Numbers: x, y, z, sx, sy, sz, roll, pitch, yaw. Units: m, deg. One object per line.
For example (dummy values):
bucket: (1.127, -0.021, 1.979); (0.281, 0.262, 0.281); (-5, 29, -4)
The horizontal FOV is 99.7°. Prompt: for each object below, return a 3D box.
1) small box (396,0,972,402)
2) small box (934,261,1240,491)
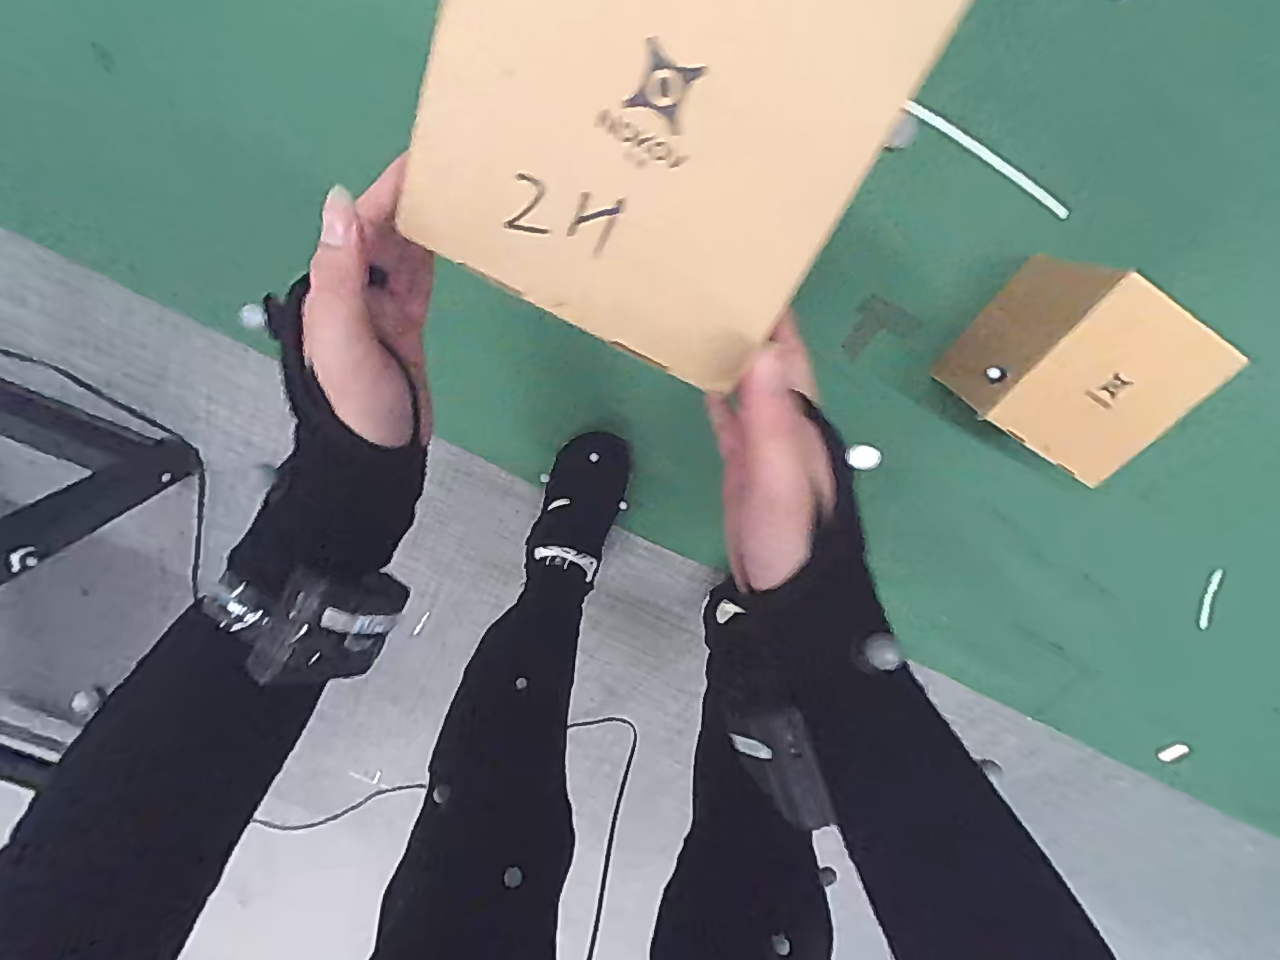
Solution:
small box: (0.012, -0.174, 0.273); (0.168, 0.176, 0.179); (26, 119, -7)
small box: (0.484, -0.127, 0.622); (0.168, 0.176, 0.179); (29, 119, -10)
